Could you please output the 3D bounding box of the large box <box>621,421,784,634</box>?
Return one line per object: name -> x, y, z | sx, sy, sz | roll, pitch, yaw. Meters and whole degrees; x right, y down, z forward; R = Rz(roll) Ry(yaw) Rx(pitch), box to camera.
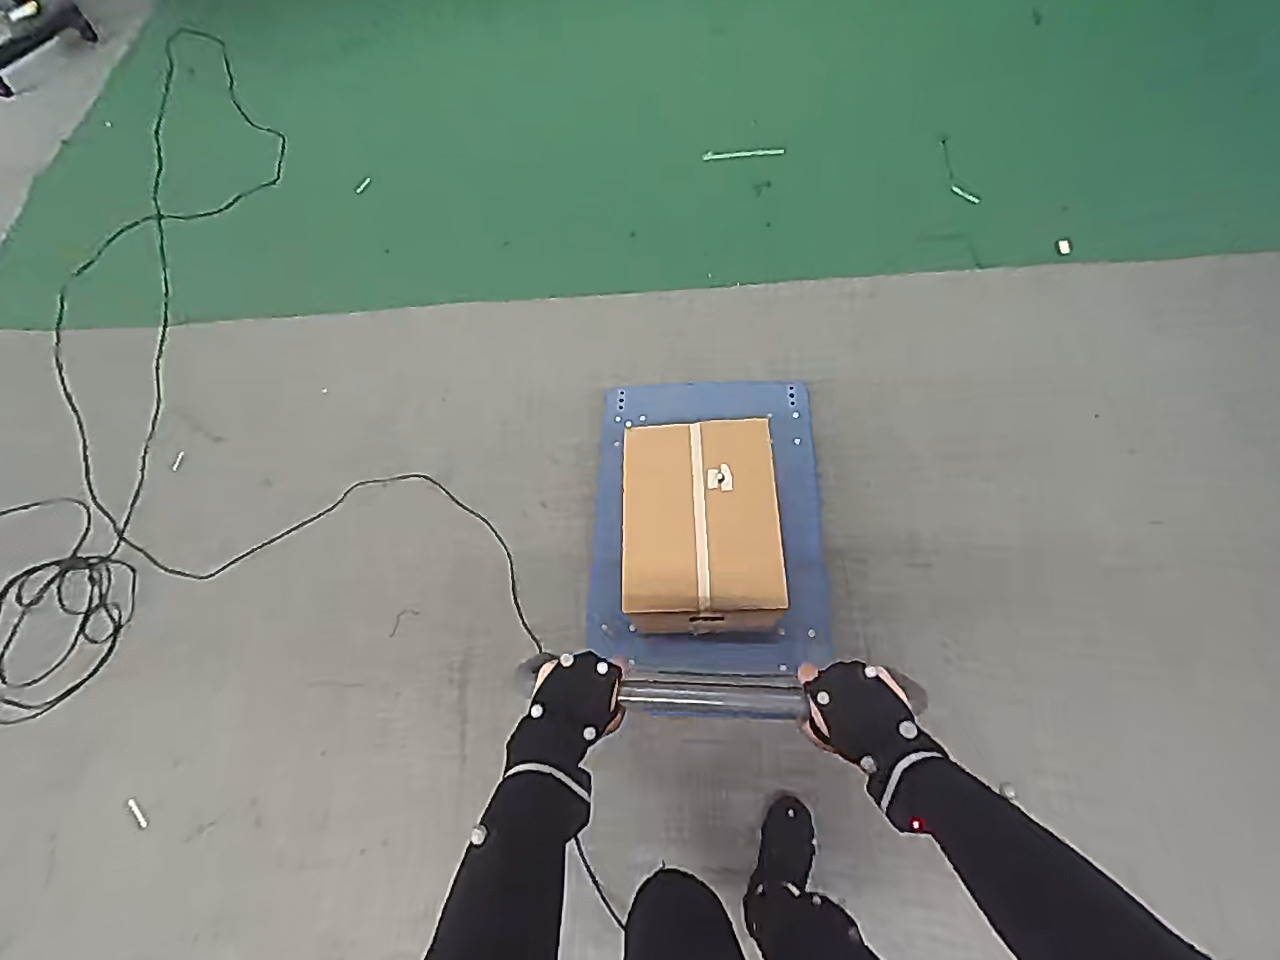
large box -> 0.135, 0.124, 1.237 | 0.320, 0.320, 0.408 | -3, 67, 6
